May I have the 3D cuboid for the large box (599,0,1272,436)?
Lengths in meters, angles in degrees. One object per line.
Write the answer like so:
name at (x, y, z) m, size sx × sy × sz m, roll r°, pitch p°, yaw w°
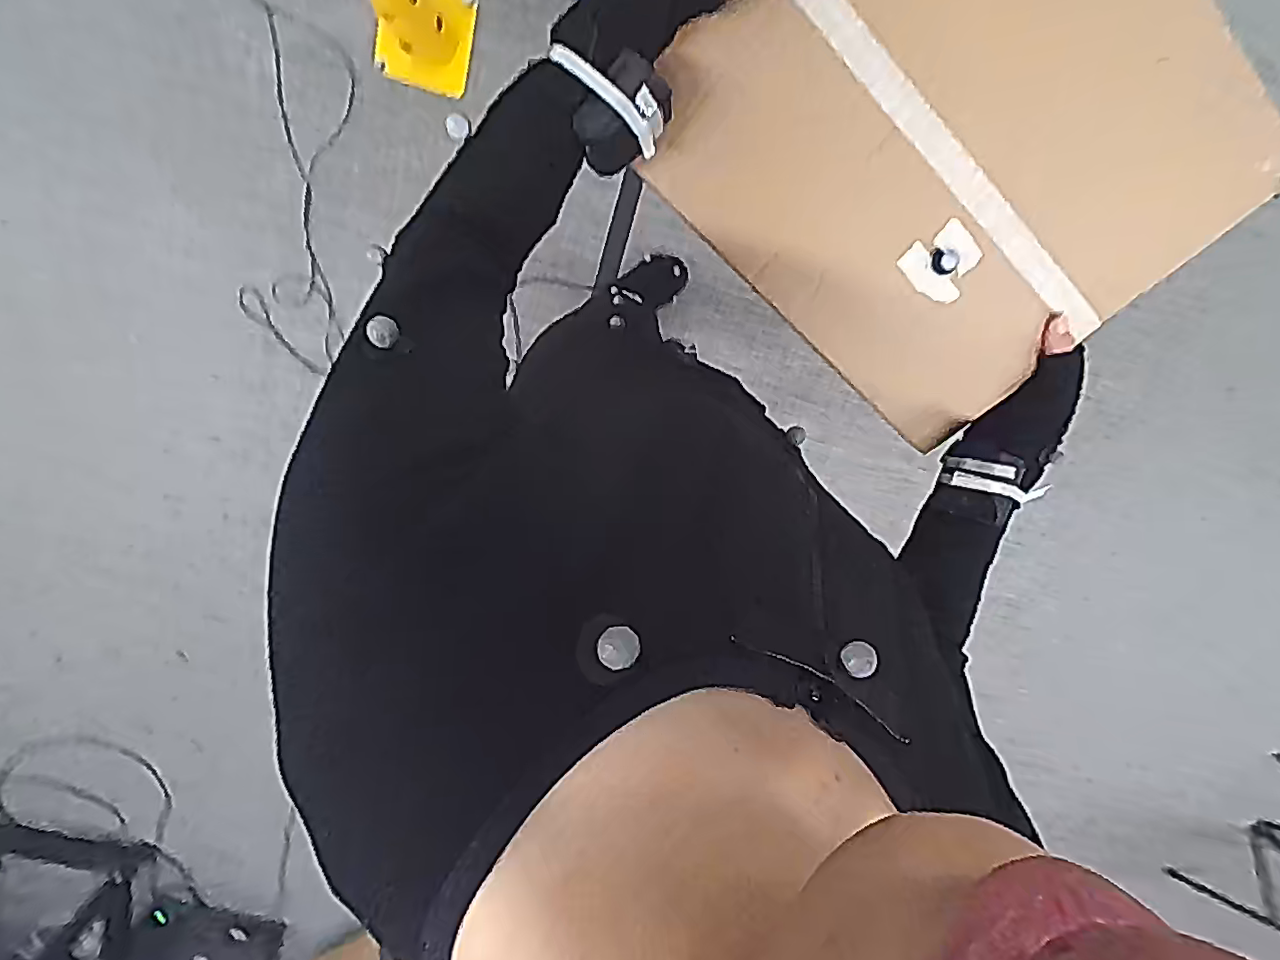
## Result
large box at (0.222, -0.324, 0.533) m, size 0.408 × 0.320 × 0.320 m, roll 37°, pitch 116°, yaw -16°
